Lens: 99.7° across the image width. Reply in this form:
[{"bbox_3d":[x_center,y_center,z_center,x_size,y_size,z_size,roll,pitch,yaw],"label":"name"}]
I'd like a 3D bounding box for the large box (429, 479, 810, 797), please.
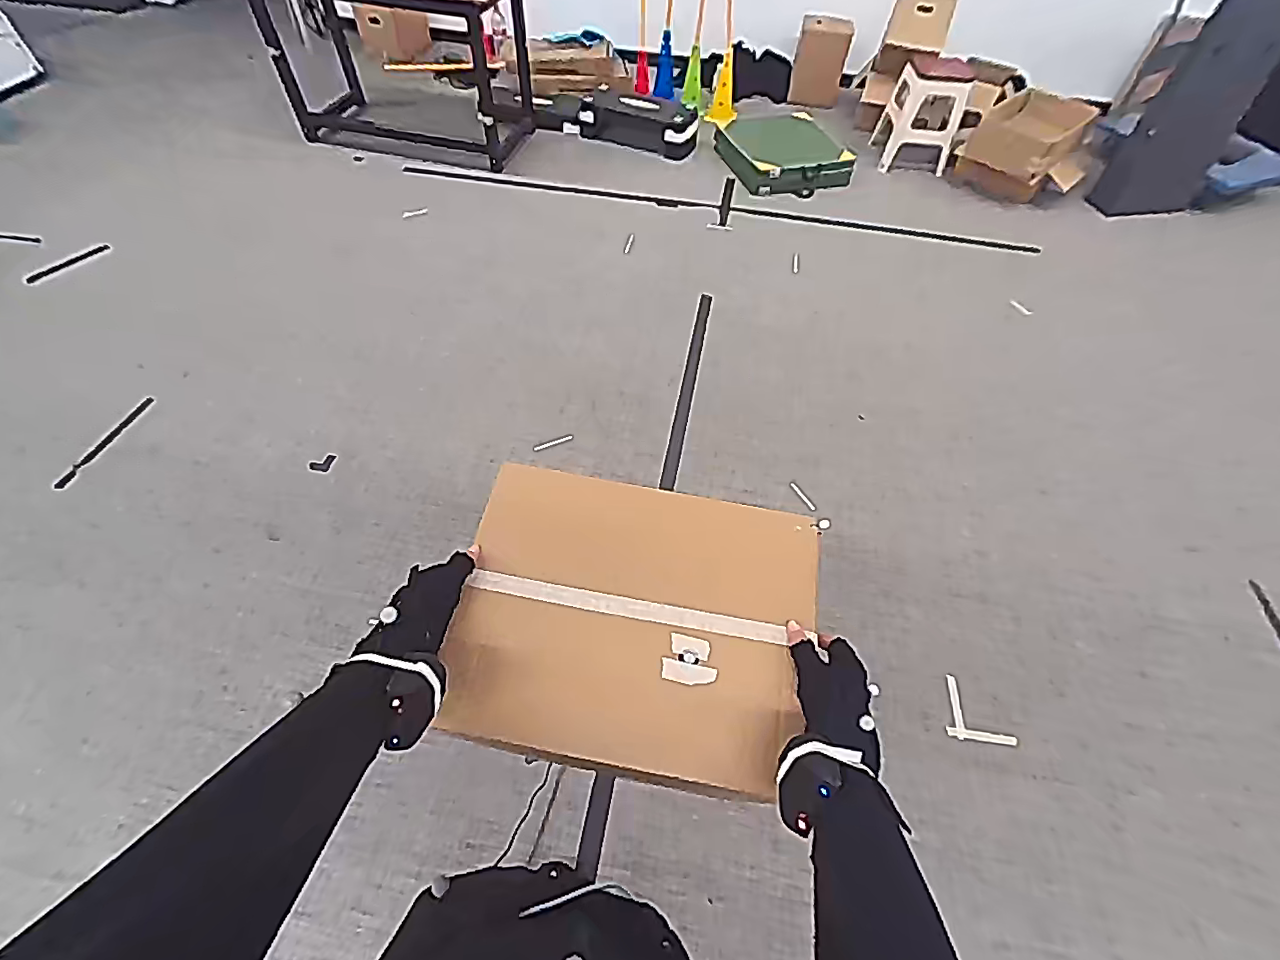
[{"bbox_3d":[-0.011,0.233,0.754,0.408,0.320,0.320,10,61,2],"label":"large box"}]
